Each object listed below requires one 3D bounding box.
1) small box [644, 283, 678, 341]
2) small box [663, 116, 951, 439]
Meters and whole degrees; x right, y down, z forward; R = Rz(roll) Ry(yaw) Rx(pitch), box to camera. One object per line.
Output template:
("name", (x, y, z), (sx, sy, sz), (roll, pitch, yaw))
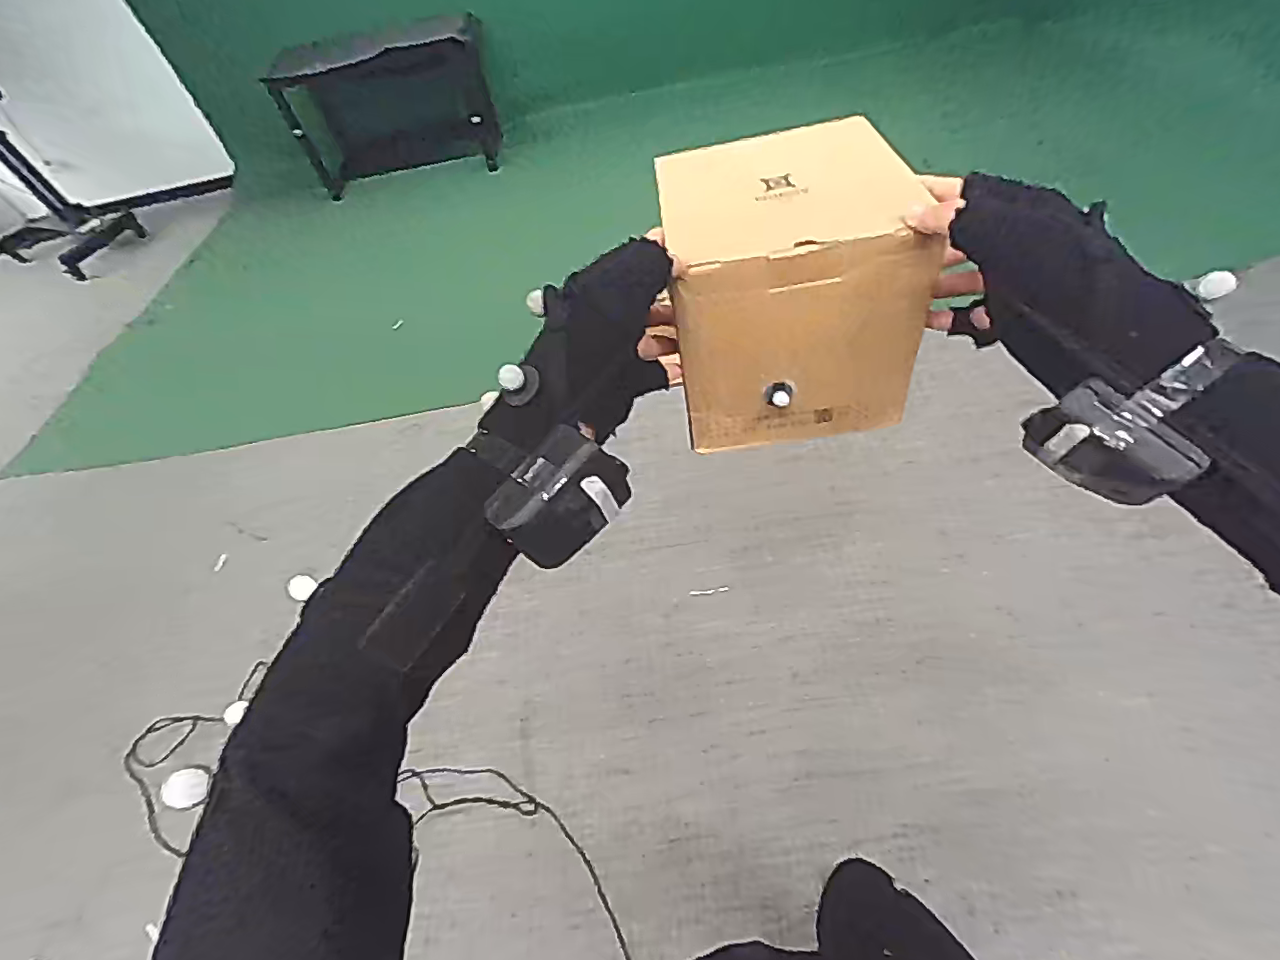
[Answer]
("small box", (0.112, -0.706, 2.285), (0.168, 0.176, 0.179), (-7, 50, 7))
("small box", (0.110, -0.157, 0.435), (0.168, 0.176, 0.179), (-7, 52, 6))
